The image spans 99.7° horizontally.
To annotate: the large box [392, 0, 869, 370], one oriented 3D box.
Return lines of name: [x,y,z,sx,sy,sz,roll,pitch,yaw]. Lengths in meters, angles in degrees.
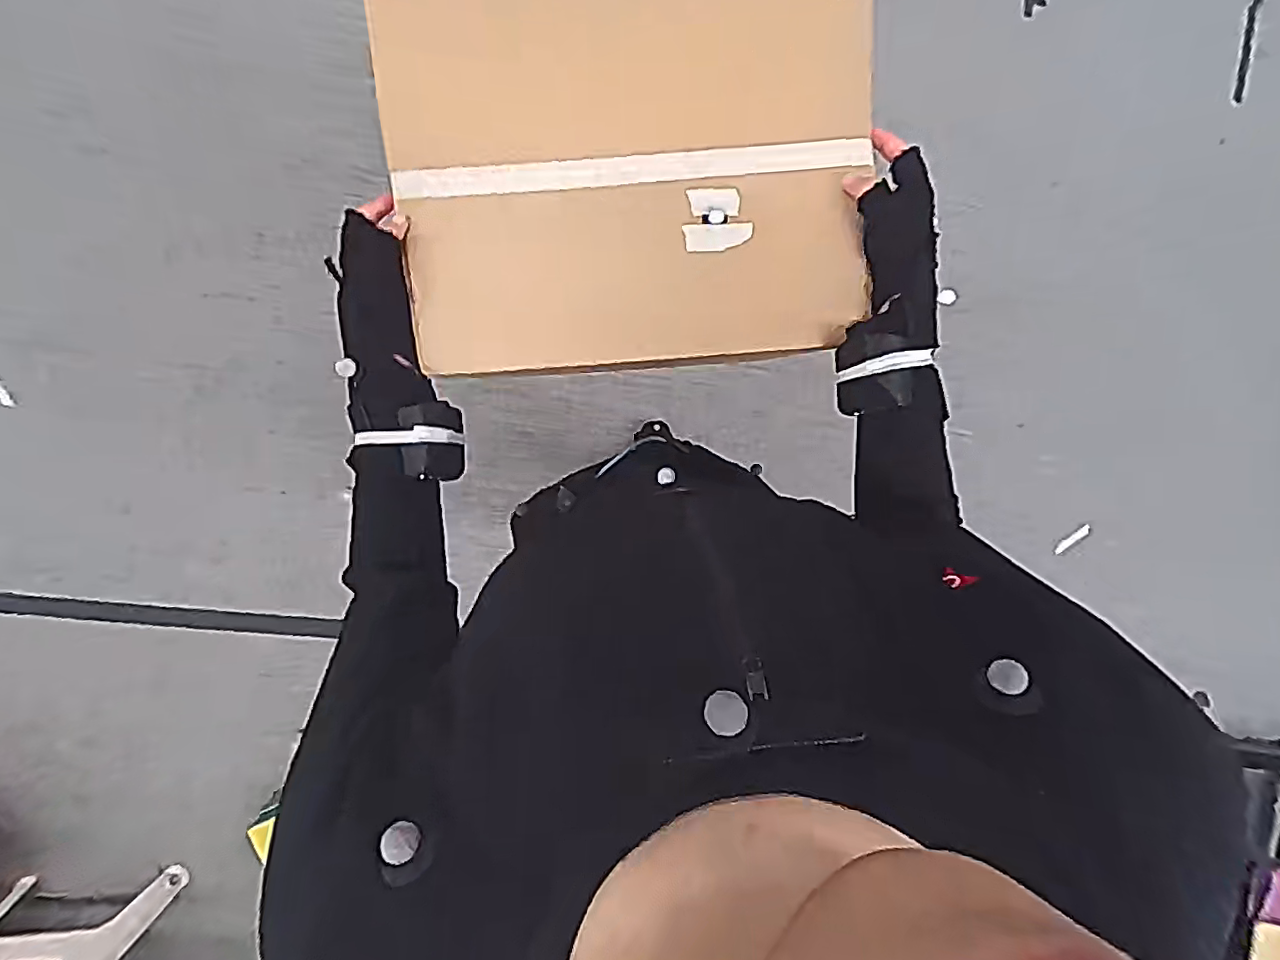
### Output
large box: [-0.004,-0.298,0.619,0.408,0.320,0.320,-3,101,-2]
